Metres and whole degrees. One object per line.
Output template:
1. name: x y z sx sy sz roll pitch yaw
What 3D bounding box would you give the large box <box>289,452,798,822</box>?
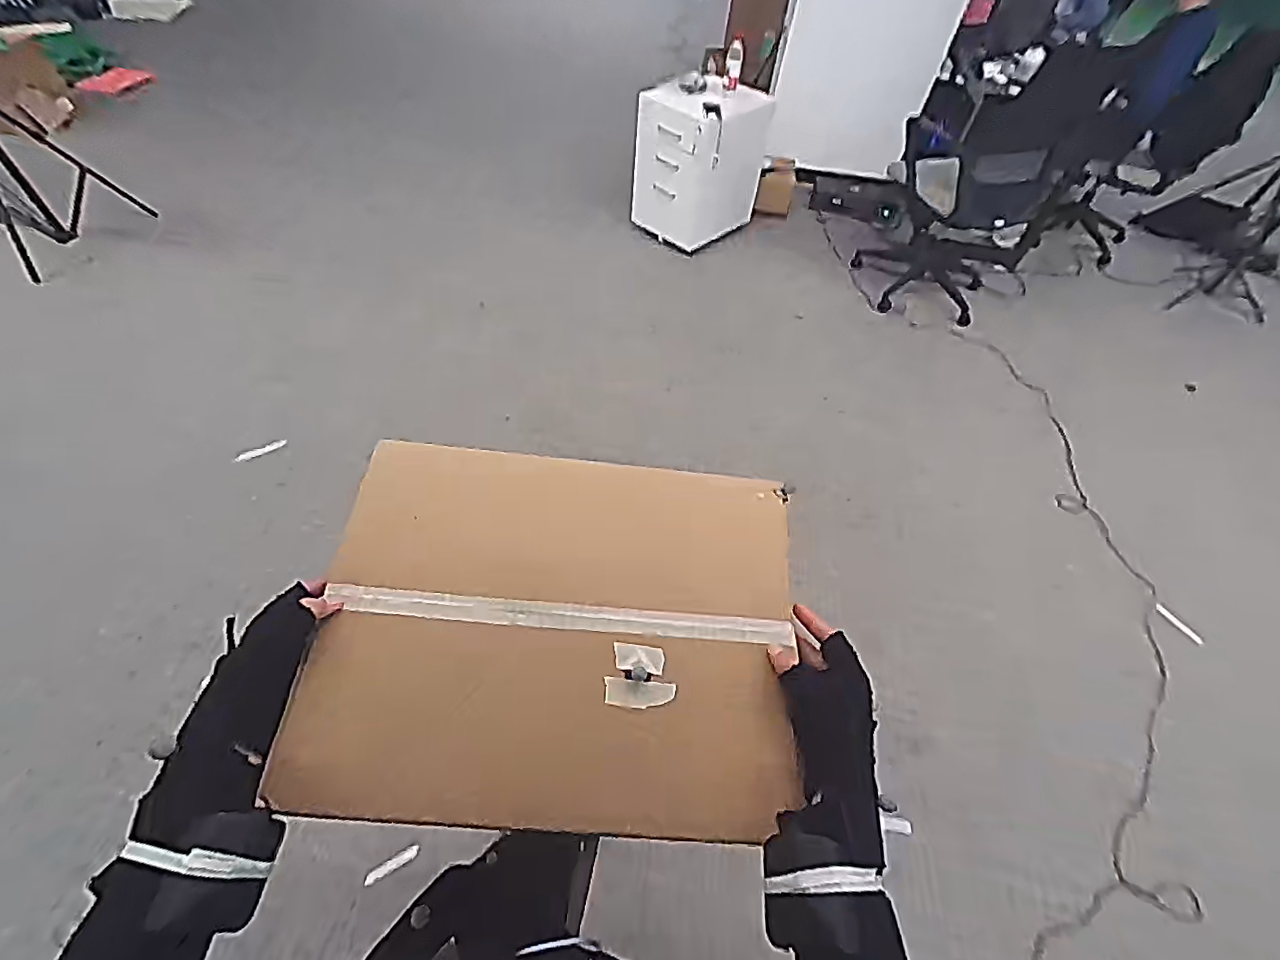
1. large box: -0.080 0.192 0.618 0.408 0.320 0.320 6 62 -4
